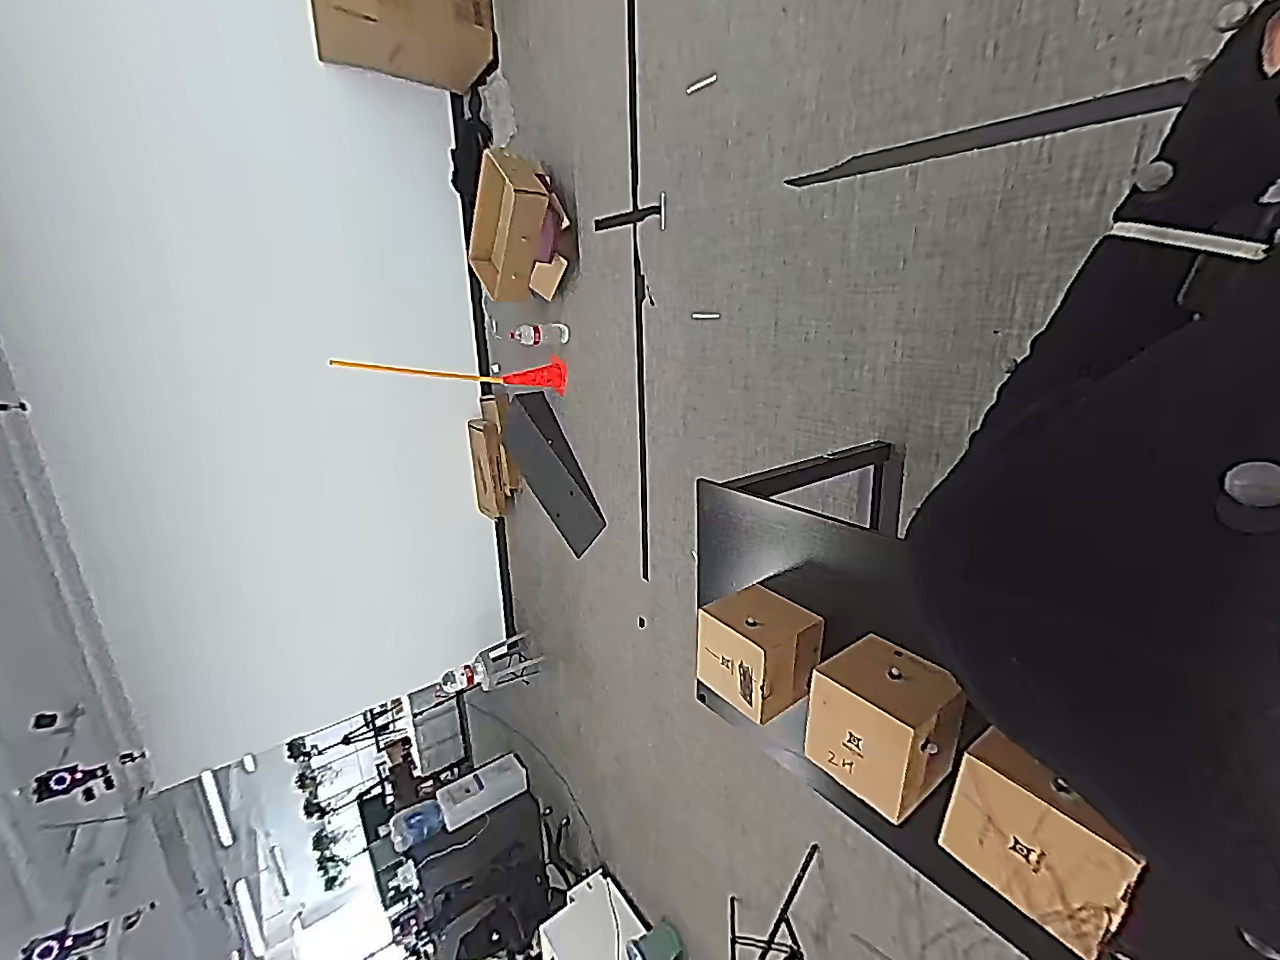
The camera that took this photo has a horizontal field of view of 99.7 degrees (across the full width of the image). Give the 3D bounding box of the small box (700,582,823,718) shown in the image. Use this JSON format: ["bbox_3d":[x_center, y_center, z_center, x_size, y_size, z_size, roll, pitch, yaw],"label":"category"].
[{"bbox_3d":[0.239,0.323,1.072,0.179,0.176,0.168,24,120,50],"label":"small box"}]

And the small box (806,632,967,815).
[{"bbox_3d":[0.394,0.373,0.867,0.168,0.176,0.179,23,119,50],"label":"small box"}]
